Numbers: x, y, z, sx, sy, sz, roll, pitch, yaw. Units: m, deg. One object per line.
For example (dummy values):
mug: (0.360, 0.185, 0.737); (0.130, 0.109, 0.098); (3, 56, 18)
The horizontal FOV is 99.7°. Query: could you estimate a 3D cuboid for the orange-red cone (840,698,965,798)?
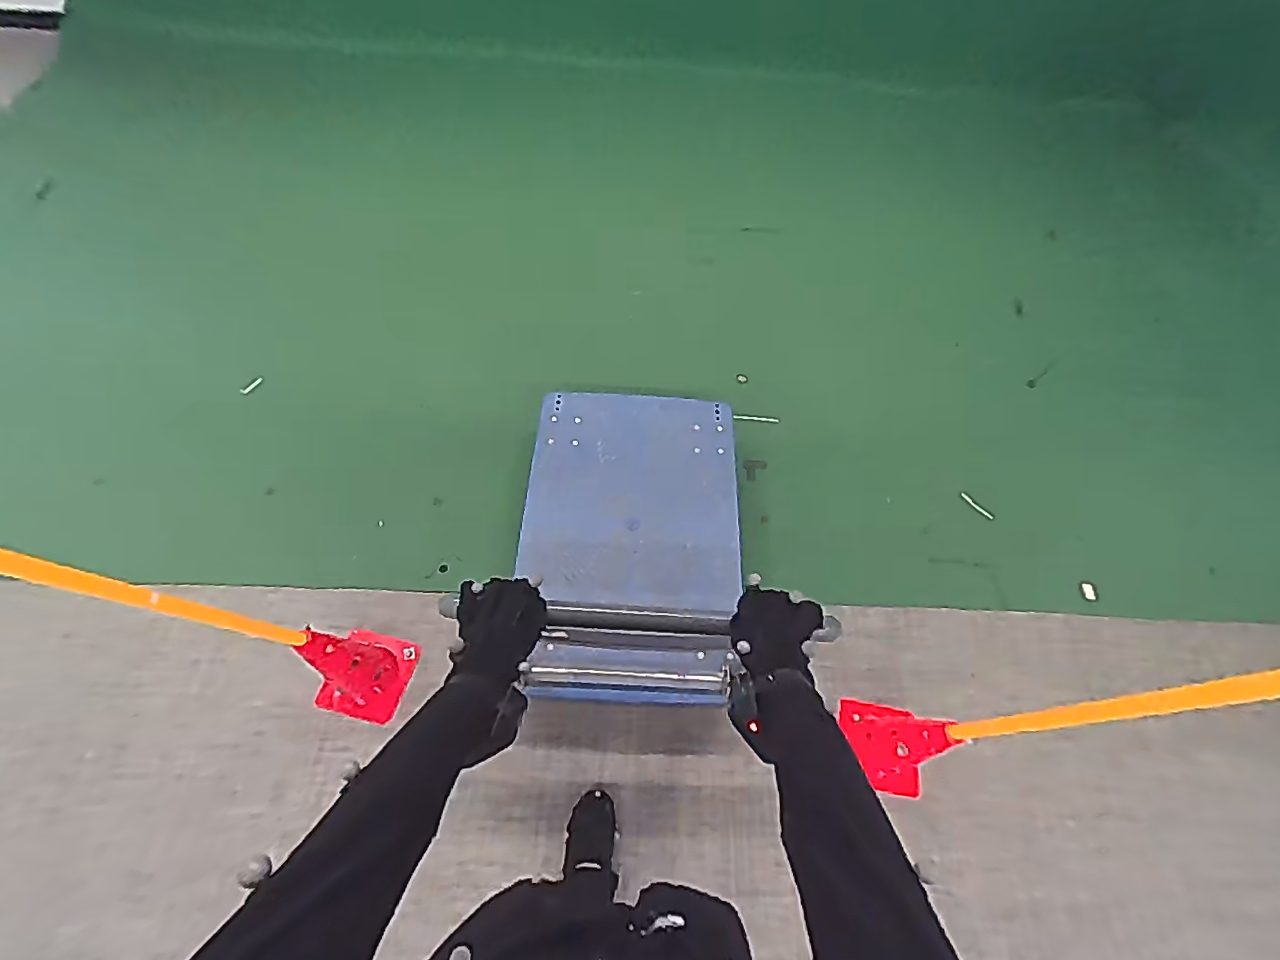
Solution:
orange-red cone: (0.602, 0.574, 1.190); (0.198, 0.360, 0.199); (12, 61, 5)
